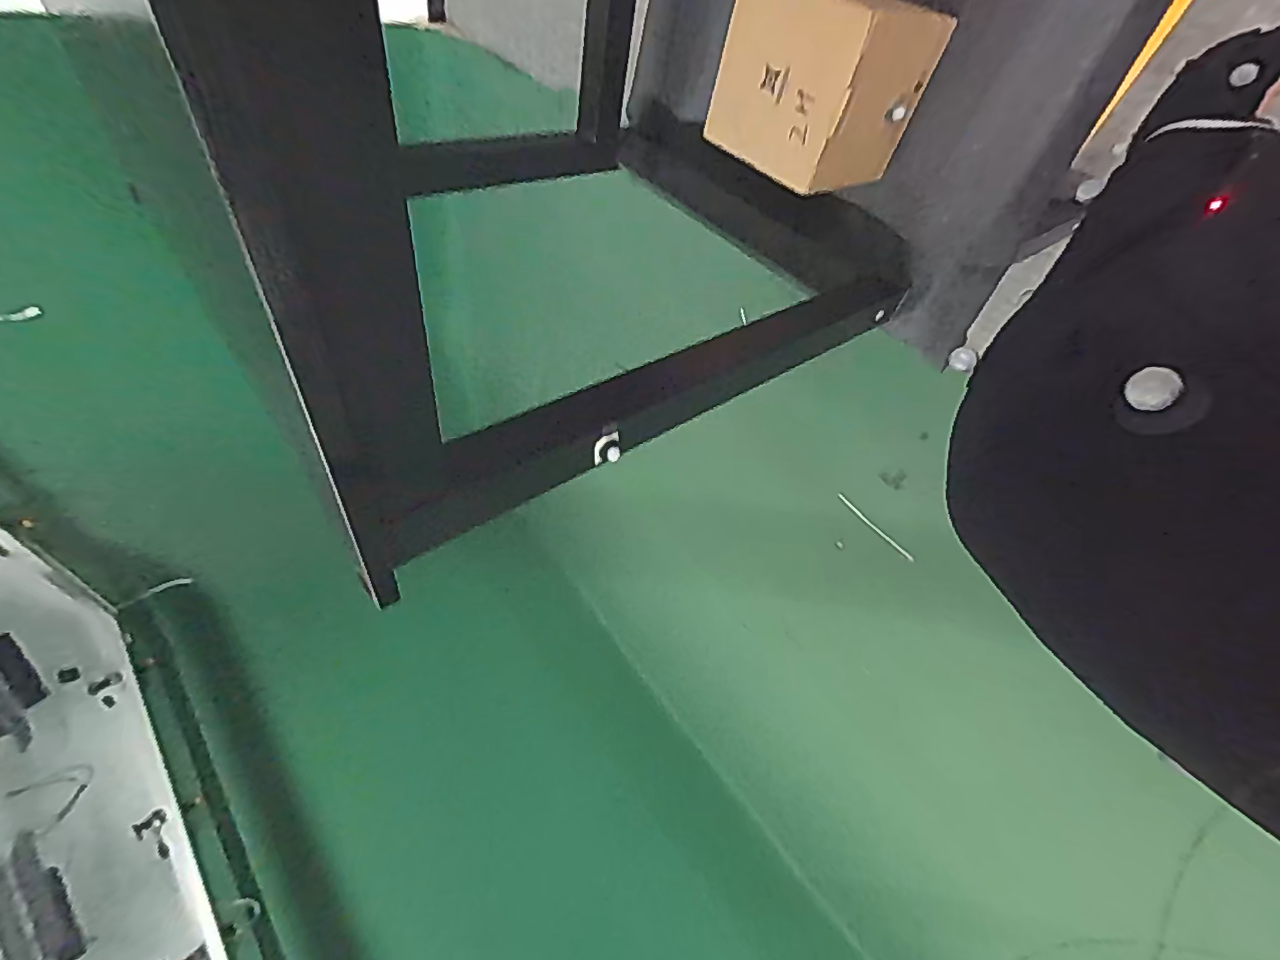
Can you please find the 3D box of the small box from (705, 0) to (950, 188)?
[{"bbox_3d":[0.211,-0.471,0.635,0.179,0.176,0.168,46,146,24],"label":"small box"}]
